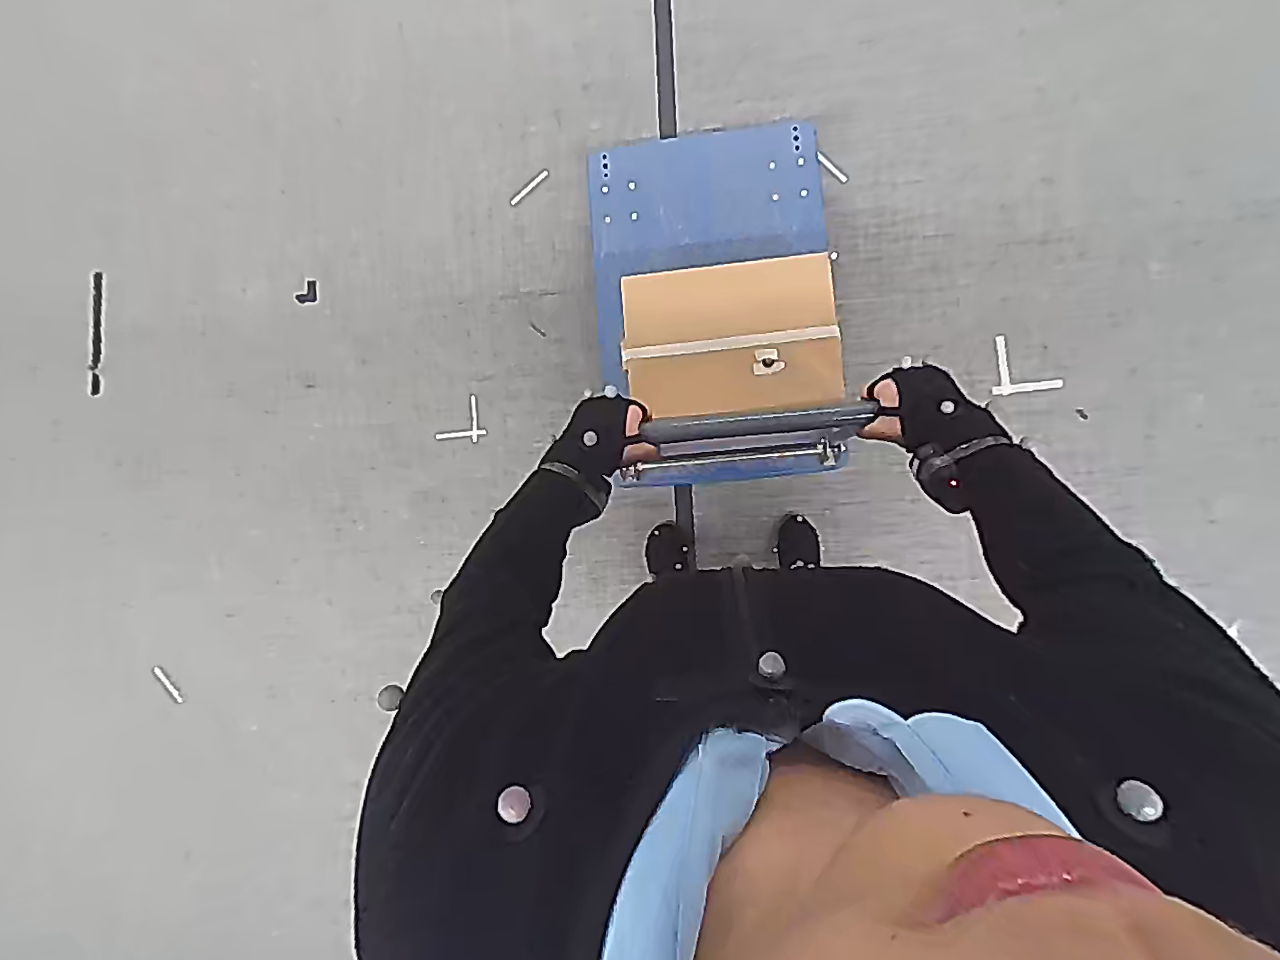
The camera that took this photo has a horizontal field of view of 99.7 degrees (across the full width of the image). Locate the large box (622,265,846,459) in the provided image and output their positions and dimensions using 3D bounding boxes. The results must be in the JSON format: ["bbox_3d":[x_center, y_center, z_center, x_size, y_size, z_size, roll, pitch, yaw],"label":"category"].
[{"bbox_3d":[0.186,-0.229,1.175,0.408,0.320,0.320,-5,87,5],"label":"large box"}]
